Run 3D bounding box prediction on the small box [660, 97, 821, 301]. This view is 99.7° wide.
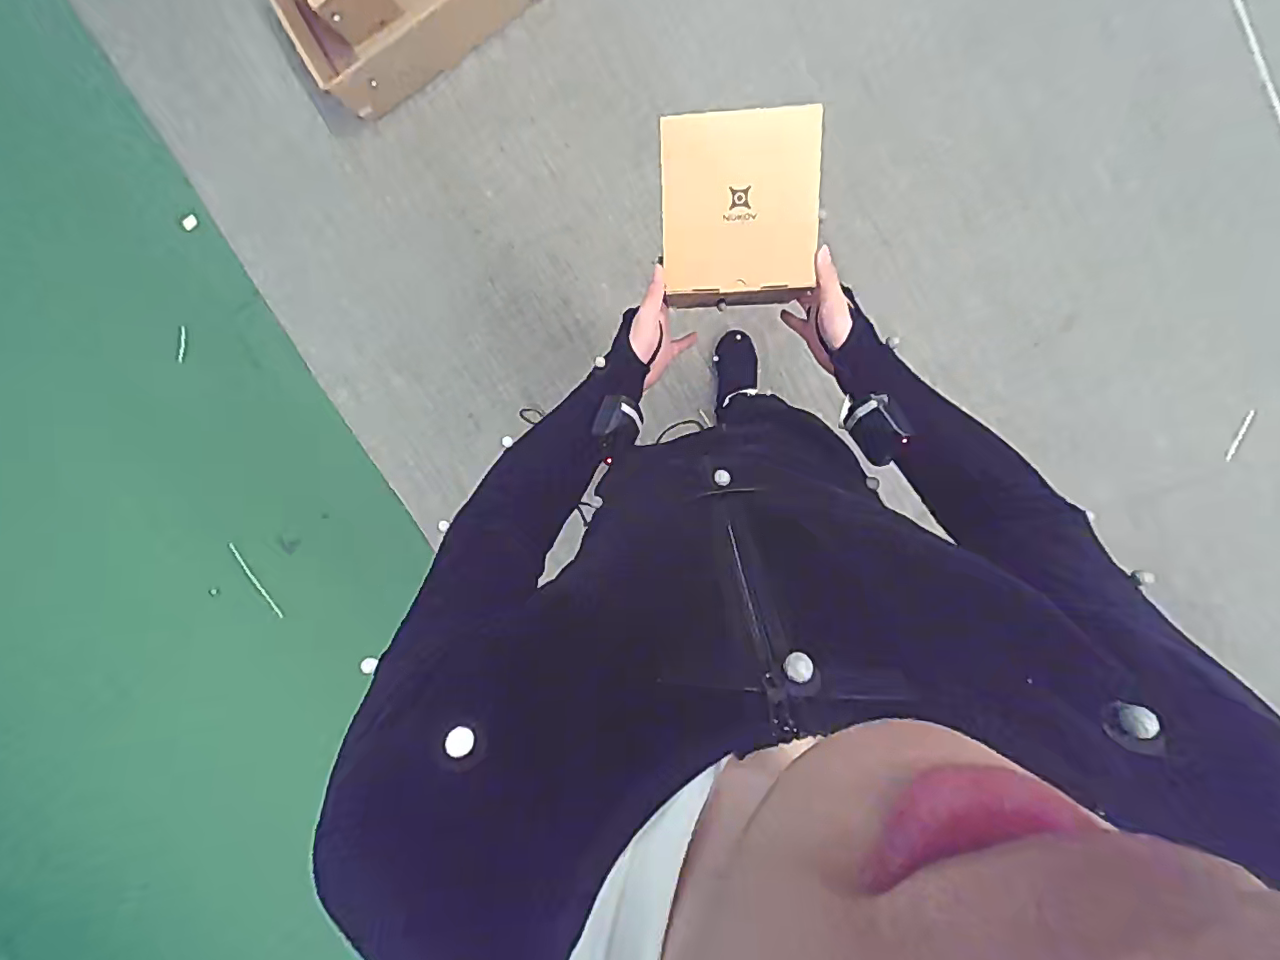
[{"bbox_3d":[0.109,-0.314,0.641,0.168,0.176,0.179,-1,104,5],"label":"small box"}]
